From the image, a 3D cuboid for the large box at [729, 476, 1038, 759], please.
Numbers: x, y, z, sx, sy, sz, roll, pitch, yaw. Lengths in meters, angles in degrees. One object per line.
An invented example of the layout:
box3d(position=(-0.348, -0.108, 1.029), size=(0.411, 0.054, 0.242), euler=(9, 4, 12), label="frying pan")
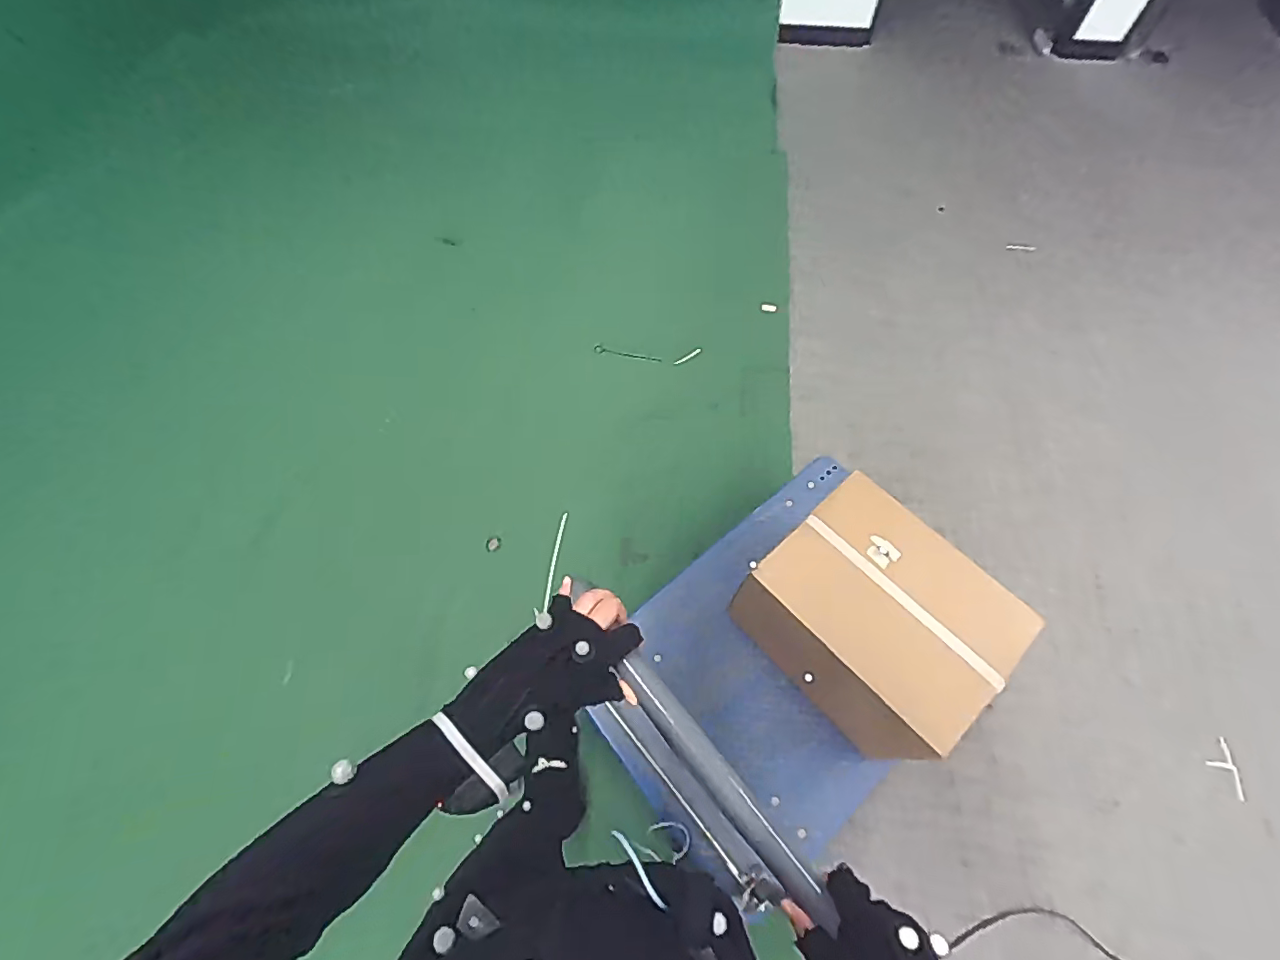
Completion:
box3d(position=(0.437, 0.278, 1.071), size=(0.320, 0.320, 0.408), euler=(-38, 67, -18), label="large box")
